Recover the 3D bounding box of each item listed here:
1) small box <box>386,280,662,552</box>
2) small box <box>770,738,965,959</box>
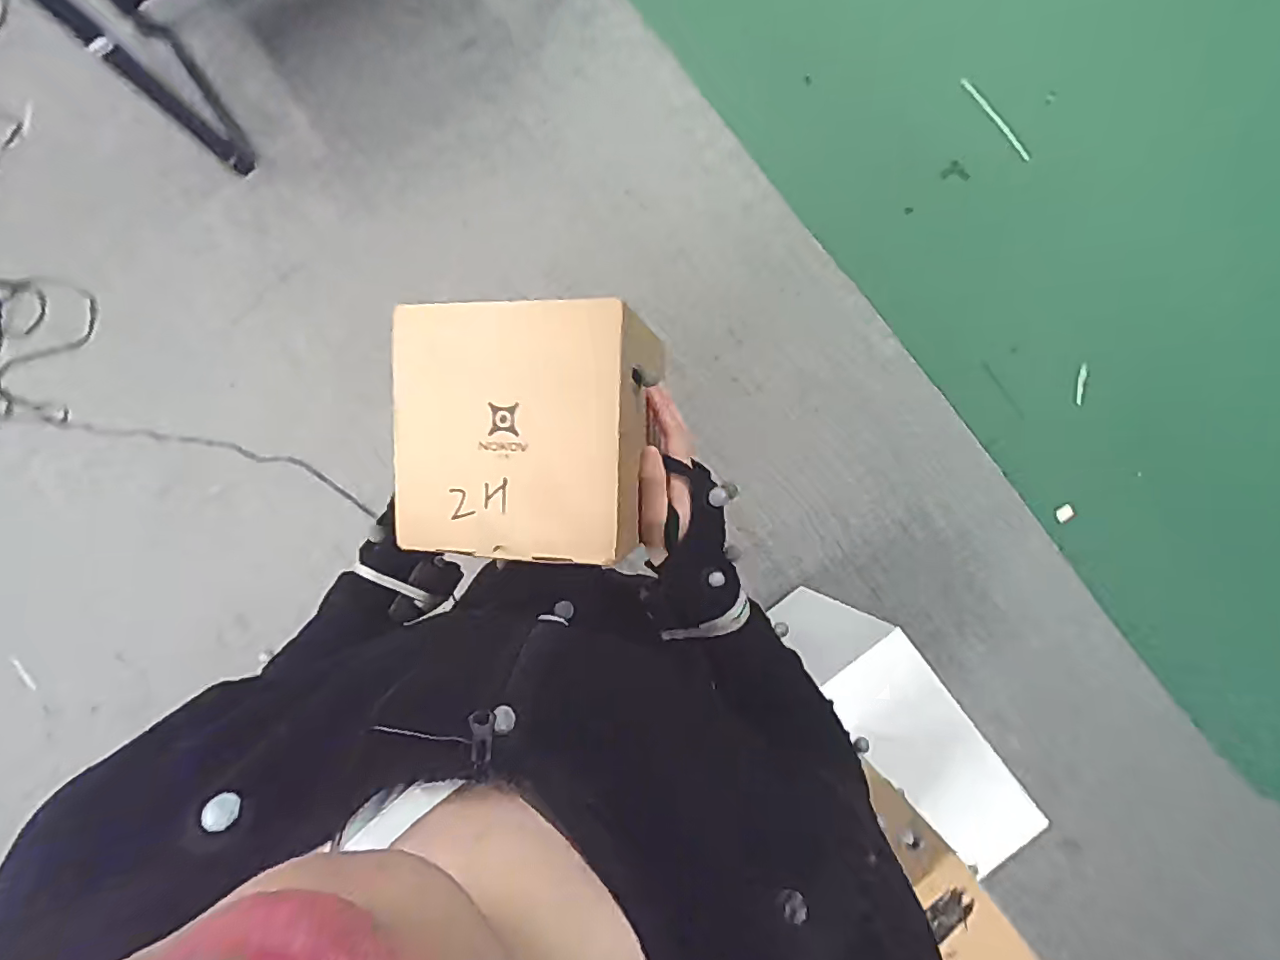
[{"bbox_3d":[-0.078,-0.047,0.438,0.168,0.176,0.179,1,95,13],"label":"small box"},{"bbox_3d":[0.321,0.527,0.800,0.168,0.176,0.179,-34,87,-3],"label":"small box"}]
